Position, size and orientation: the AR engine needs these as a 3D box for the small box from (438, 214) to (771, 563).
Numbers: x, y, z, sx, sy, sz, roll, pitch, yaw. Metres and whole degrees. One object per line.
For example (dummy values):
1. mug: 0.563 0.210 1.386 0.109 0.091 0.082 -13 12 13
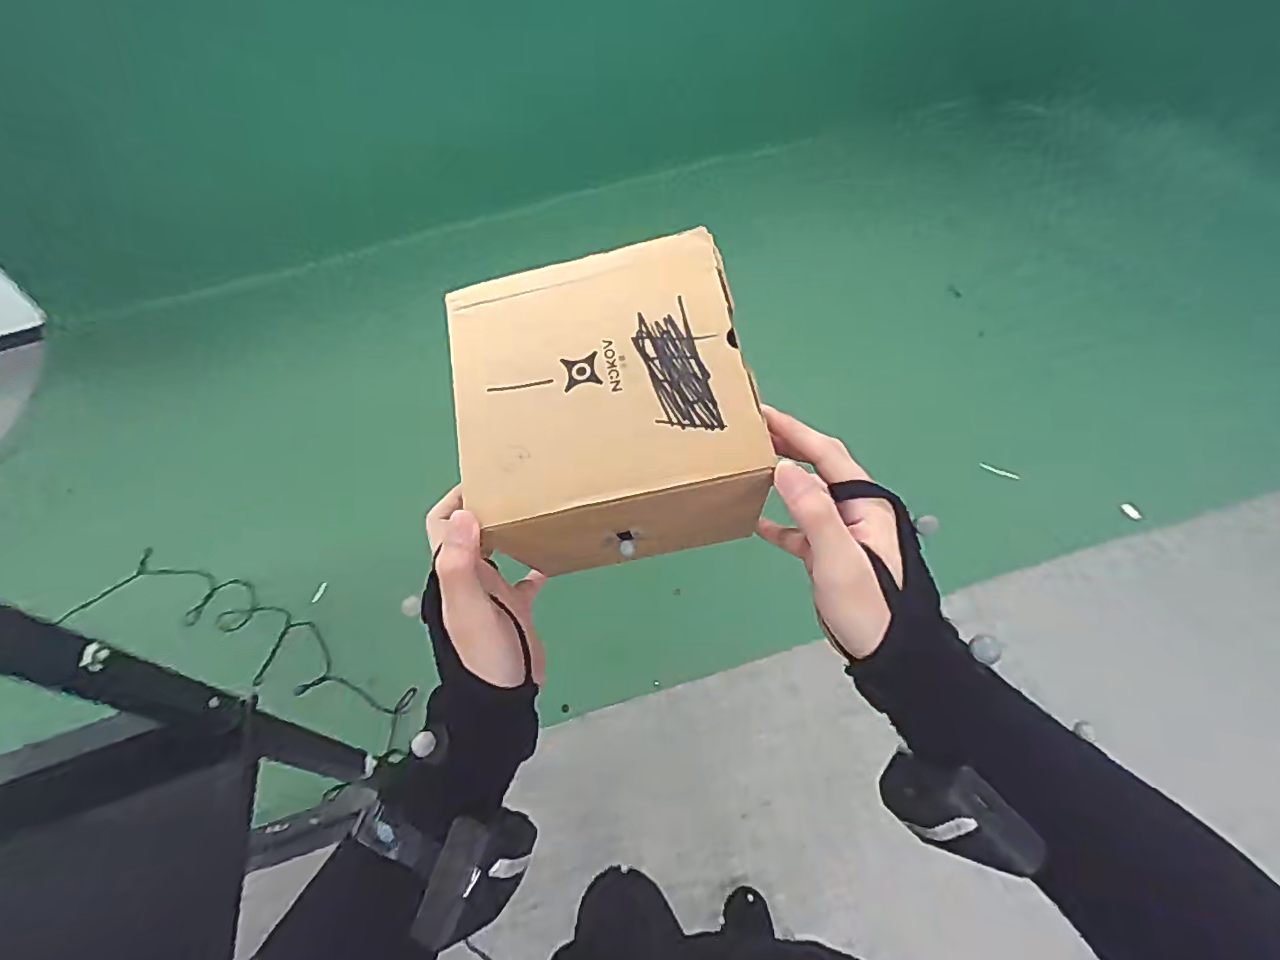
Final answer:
1. small box: -0.020 -0.044 0.377 0.179 0.176 0.168 -10 71 4
